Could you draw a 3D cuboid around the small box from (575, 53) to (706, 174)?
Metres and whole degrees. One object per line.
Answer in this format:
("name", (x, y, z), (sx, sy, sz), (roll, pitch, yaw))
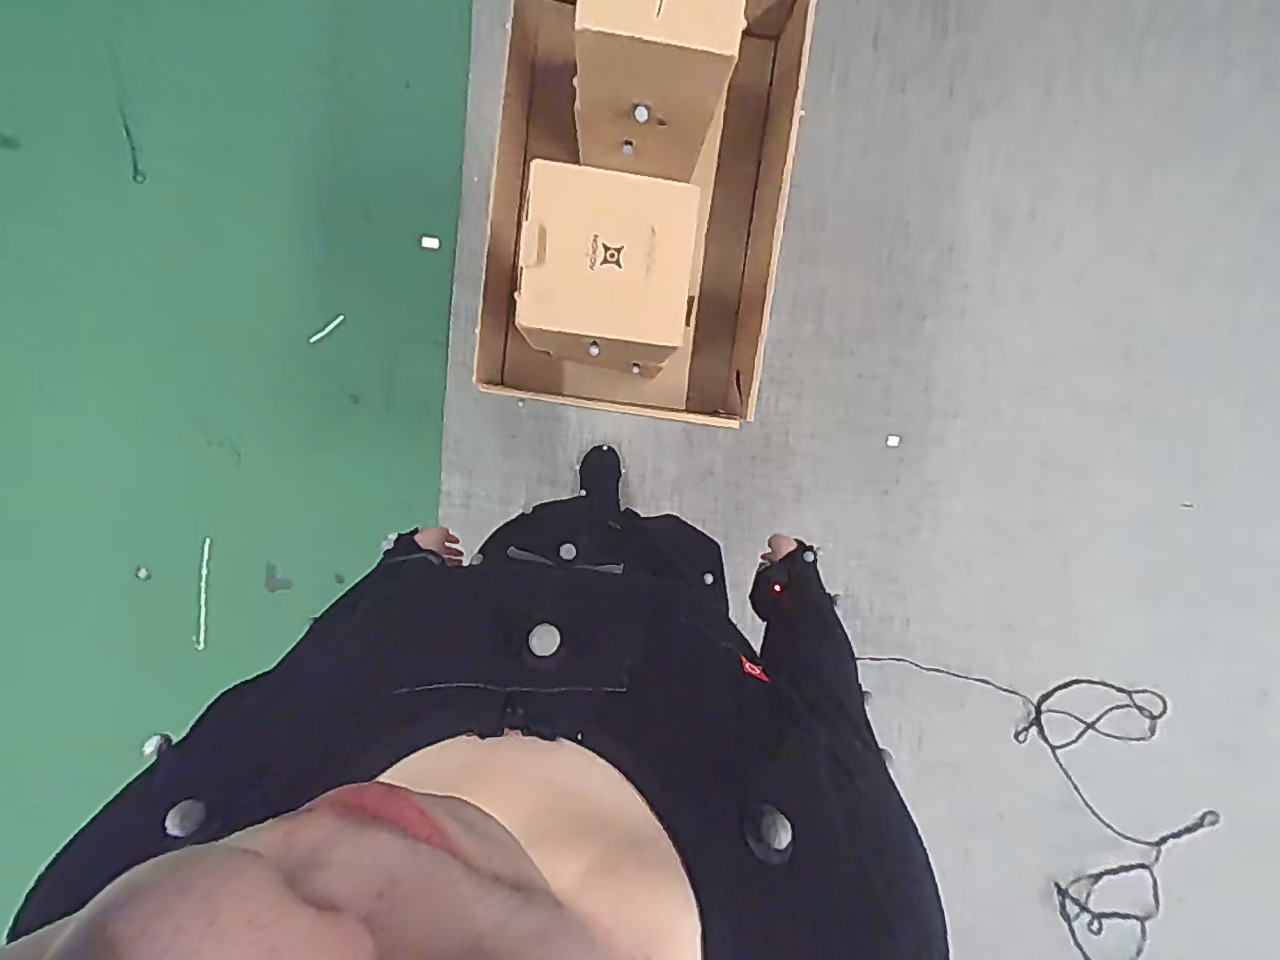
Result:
("small box", (0.011, -0.558, 0.758), (0.179, 0.176, 0.168), (8, 98, -5))

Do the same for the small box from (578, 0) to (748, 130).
("small box", (0.024, -0.531, 0.596), (0.168, 0.176, 0.179), (7, 98, -5))

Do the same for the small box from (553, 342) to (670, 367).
("small box", (-0.038, -0.267, 0.794), (0.179, 0.176, 0.168), (10, 96, -6))

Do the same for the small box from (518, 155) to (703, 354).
("small box", (-0.037, -0.246, 0.633), (0.179, 0.176, 0.168), (6, 97, -6))
